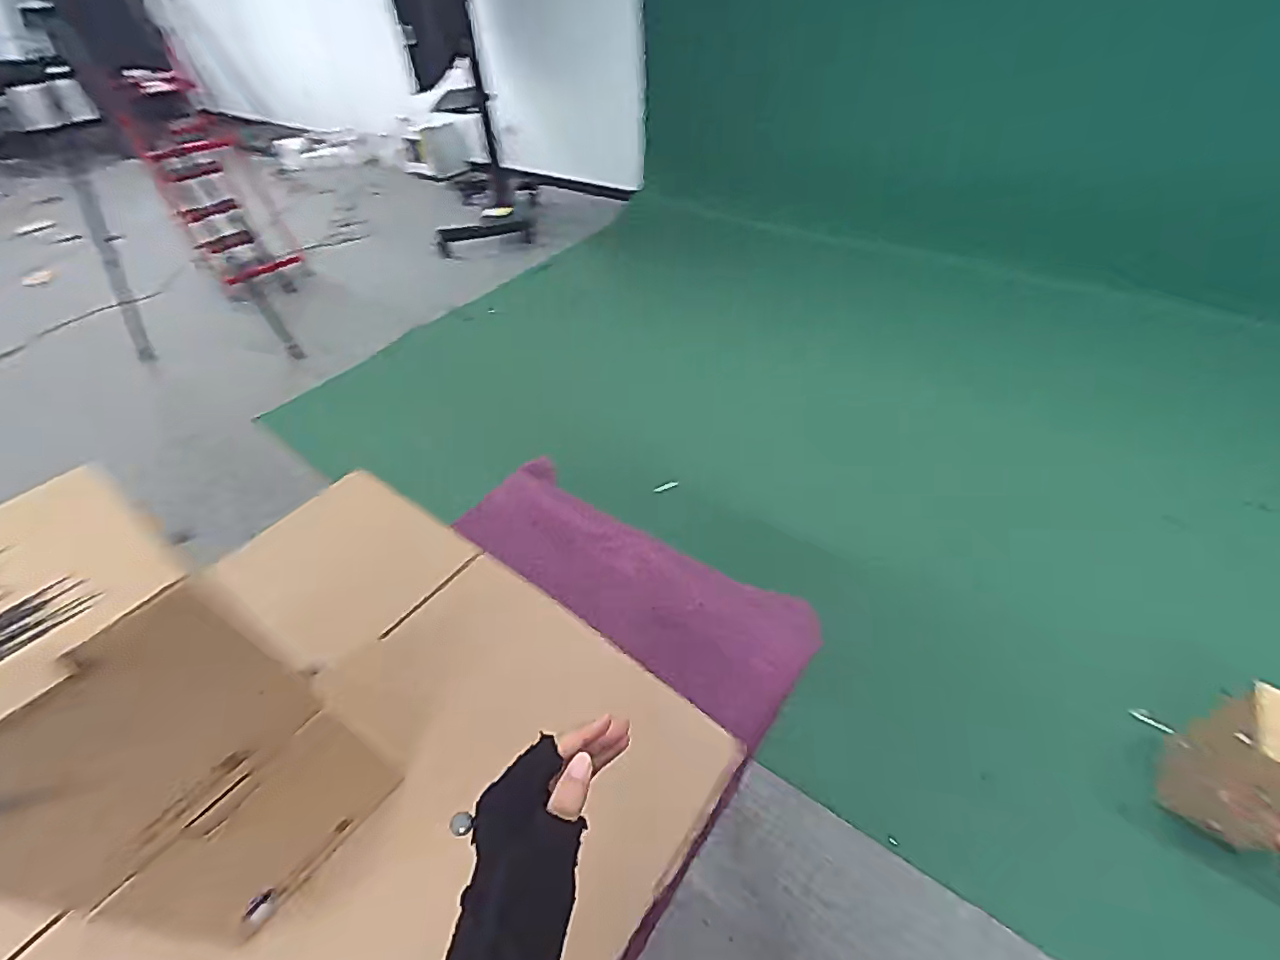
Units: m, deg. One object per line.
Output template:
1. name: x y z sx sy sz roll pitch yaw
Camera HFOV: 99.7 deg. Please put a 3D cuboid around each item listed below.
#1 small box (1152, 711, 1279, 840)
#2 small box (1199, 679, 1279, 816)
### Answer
1. small box: 1.314 0.669 1.225 0.168 0.176 0.179 27 53 26
2. small box: 1.306 0.554 1.110 0.168 0.176 0.179 26 53 25
